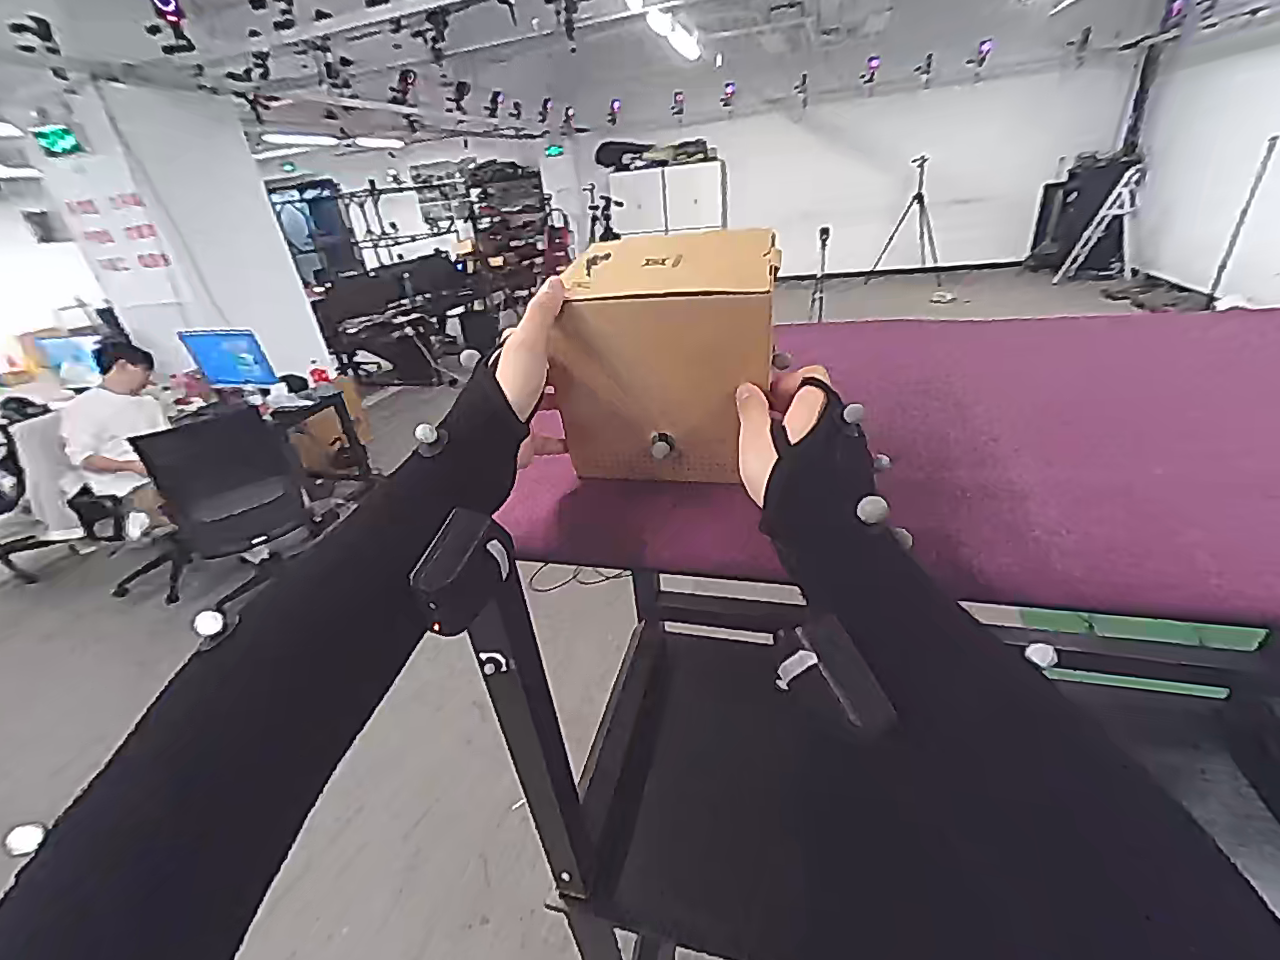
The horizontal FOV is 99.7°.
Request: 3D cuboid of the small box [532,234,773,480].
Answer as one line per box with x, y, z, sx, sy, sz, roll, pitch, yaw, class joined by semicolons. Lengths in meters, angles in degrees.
0.027;-0.113;0.496;0.179;0.176;0.168;2;36;14;small box
